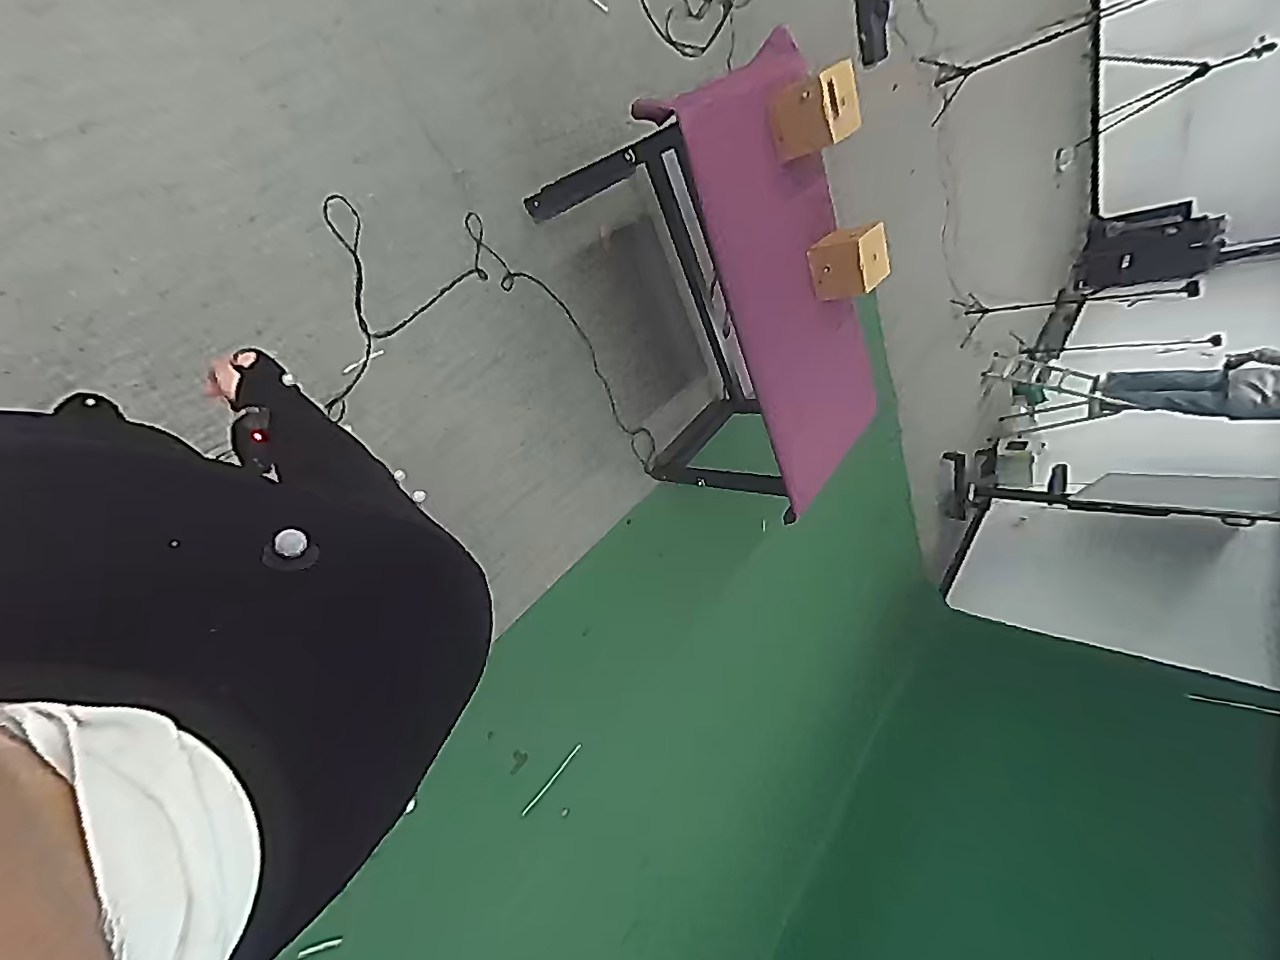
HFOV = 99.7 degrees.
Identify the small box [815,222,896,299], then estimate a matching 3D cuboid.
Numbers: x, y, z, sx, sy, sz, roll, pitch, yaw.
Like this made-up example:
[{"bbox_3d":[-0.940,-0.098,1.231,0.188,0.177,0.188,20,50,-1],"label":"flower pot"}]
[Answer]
[{"bbox_3d":[0.670,-0.678,1.681,0.179,0.176,0.168,-40,122,-29],"label":"small box"}]
